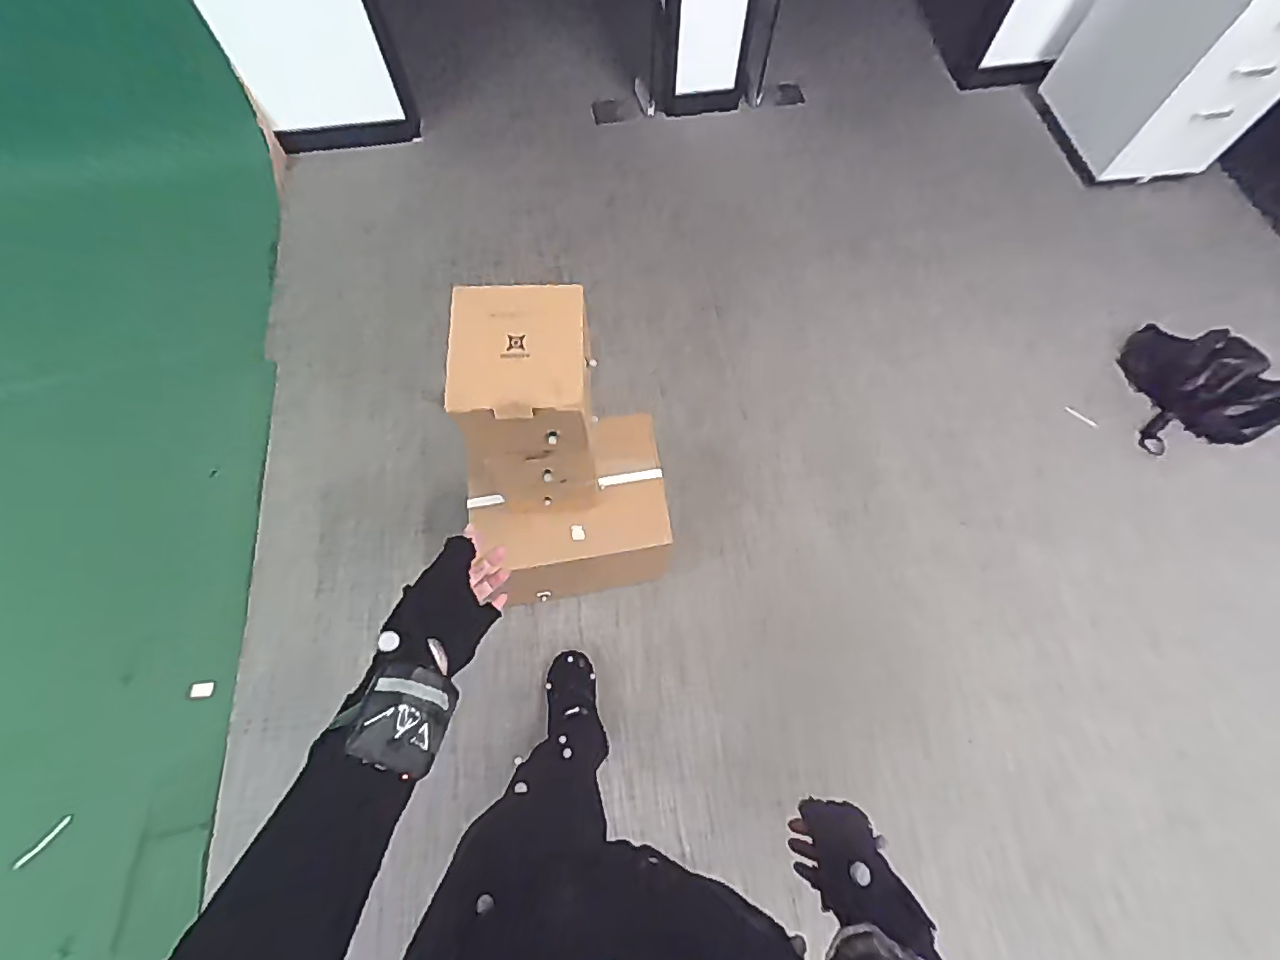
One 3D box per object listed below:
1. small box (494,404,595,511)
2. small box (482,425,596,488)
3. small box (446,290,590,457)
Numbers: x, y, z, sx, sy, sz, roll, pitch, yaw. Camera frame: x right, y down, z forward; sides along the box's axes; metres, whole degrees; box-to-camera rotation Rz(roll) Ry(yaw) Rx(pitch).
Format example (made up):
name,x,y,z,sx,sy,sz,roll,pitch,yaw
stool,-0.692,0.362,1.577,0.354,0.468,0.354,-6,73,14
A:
name,x,y,z,sx,sy,sz,roll,pitch,yaw
small box,-0.176,-0.041,1.053,0.179,0.176,0.168,-2,70,-3
small box,-0.167,-0.093,0.901,0.168,0.176,0.179,-9,73,-5
small box,-0.155,-0.136,0.744,0.168,0.176,0.179,-2,71,-4
